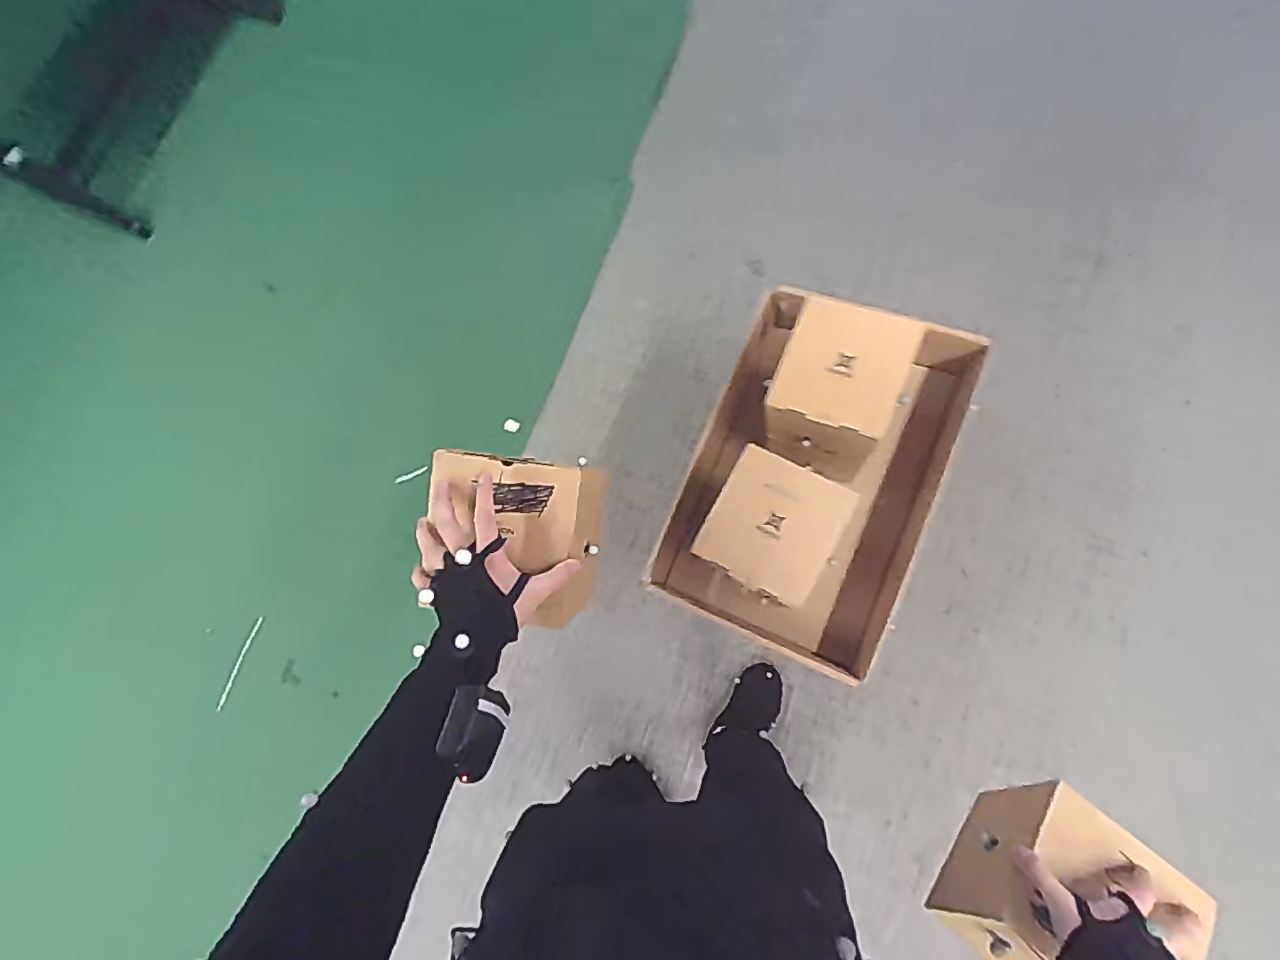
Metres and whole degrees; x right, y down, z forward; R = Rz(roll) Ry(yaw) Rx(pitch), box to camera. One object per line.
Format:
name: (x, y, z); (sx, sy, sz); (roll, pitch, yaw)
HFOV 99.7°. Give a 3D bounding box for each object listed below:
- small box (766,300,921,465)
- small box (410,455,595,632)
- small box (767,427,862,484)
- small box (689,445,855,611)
small box: (0.301, -0.142, 0.837); (0.168, 0.176, 0.179); (22, 85, 16)
small box: (-0.155, 0.068, 0.666); (0.168, 0.176, 0.179); (7, 91, 6)
small box: (0.340, -0.112, 0.992); (0.168, 0.176, 0.179); (22, 85, 17)
small box: (0.195, 0.079, 0.809); (0.168, 0.176, 0.179); (29, 85, 17)
